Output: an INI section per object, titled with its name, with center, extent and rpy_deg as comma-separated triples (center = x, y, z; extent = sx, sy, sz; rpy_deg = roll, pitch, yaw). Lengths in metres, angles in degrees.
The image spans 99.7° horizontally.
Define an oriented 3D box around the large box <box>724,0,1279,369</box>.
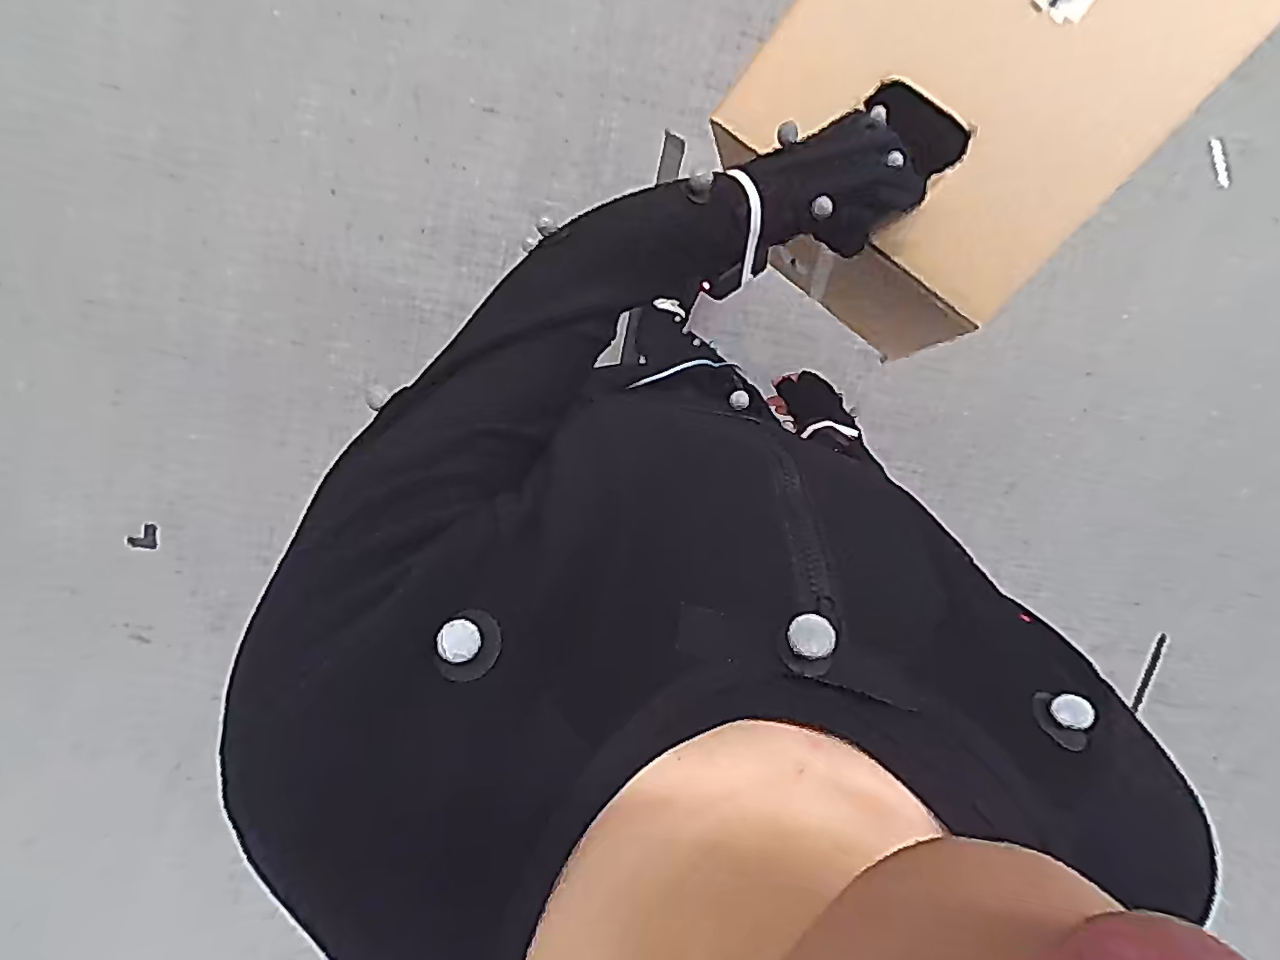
[large box]
center = 0.340, -0.361, 0.645
extent = 0.320, 0.408, 0.320
rpy_deg = 45, 107, 6
